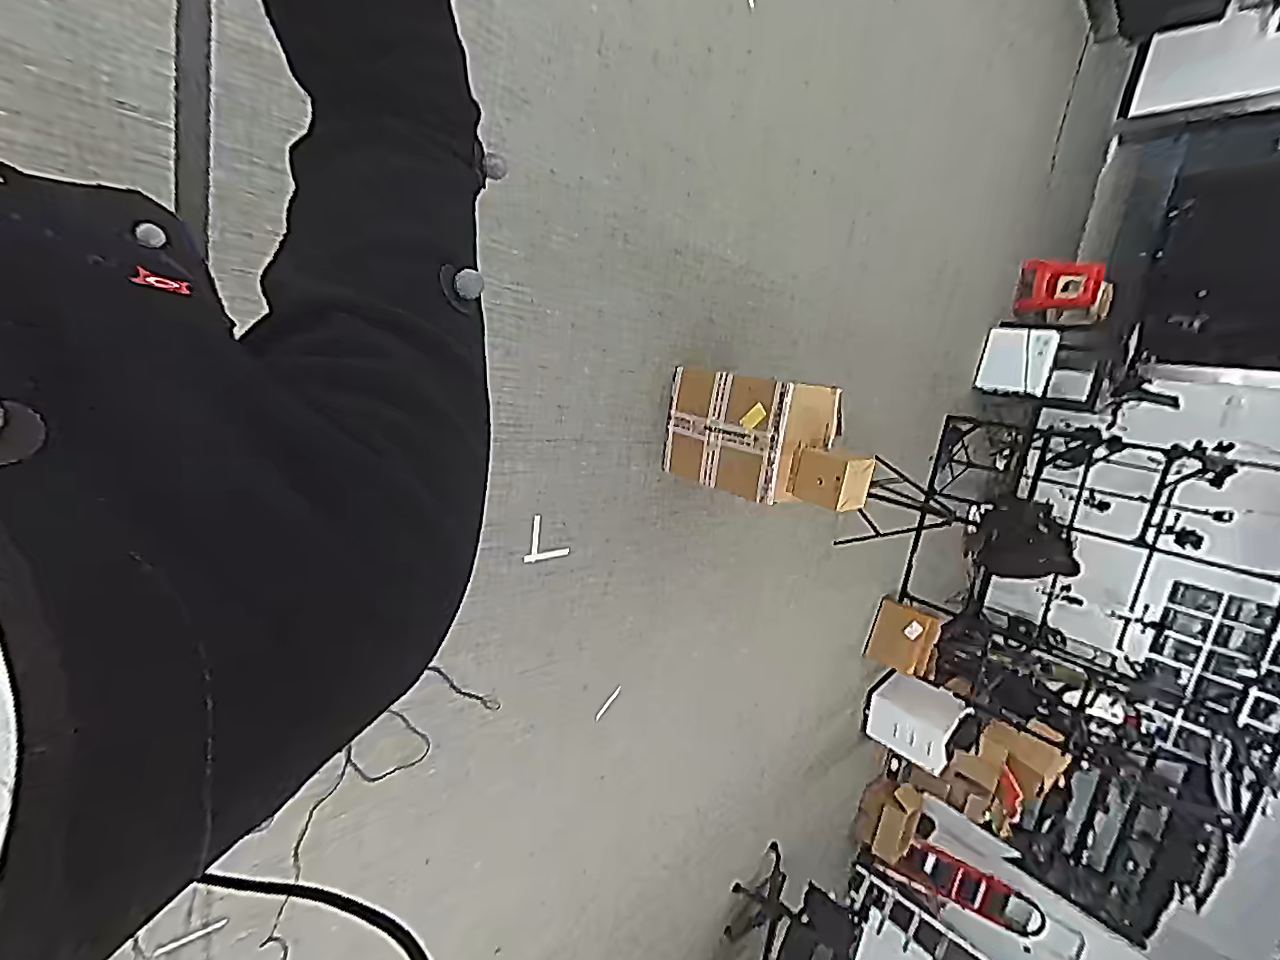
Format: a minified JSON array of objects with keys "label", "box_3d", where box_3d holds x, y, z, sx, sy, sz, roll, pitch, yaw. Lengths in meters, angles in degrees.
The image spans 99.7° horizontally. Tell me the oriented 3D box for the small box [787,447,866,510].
[{"label":"small box","box_3d":[0.615,-0.008,1.776,0.179,0.176,0.168,-4,110,-41]}]
